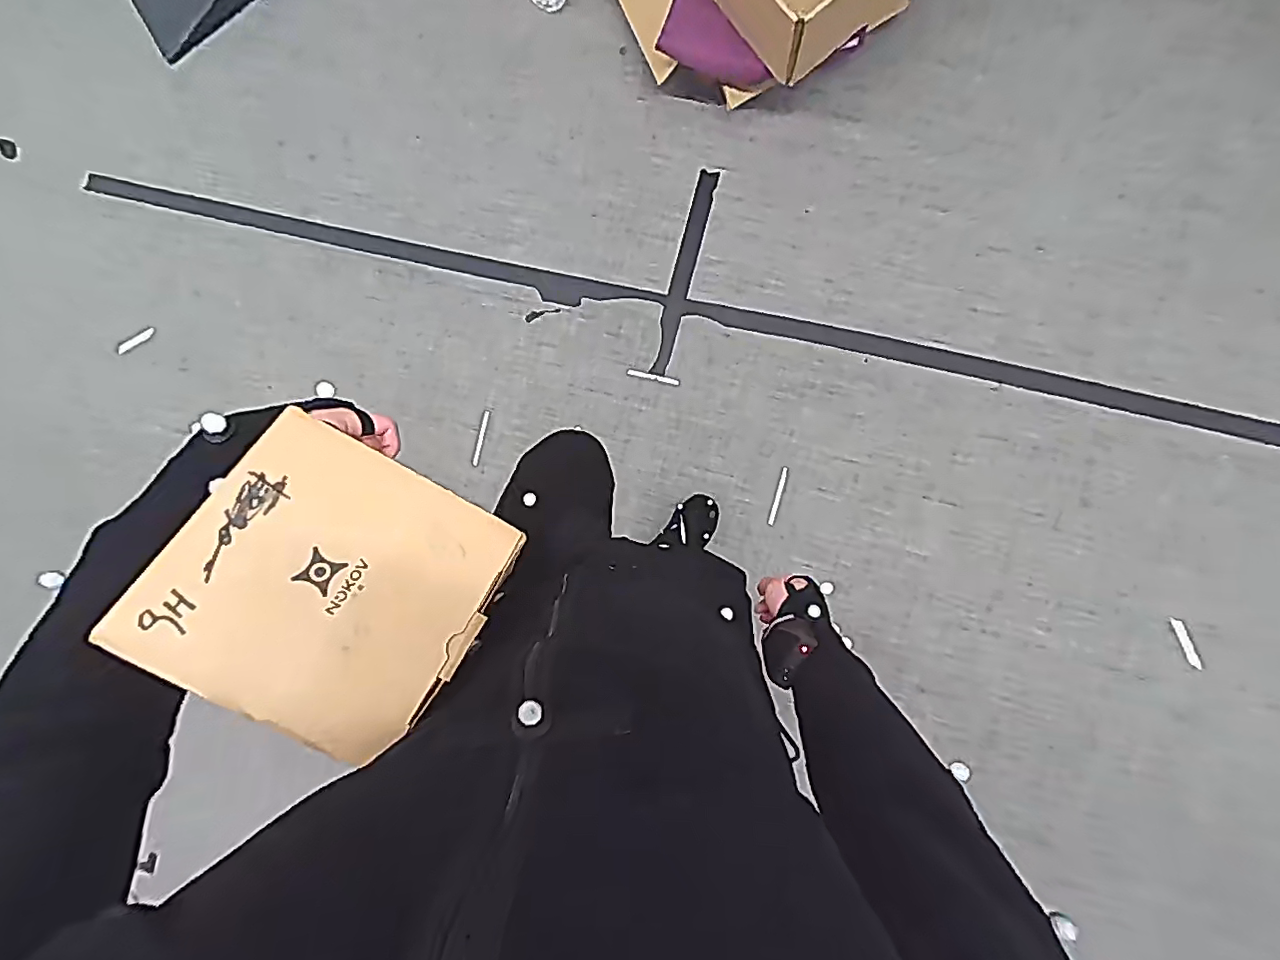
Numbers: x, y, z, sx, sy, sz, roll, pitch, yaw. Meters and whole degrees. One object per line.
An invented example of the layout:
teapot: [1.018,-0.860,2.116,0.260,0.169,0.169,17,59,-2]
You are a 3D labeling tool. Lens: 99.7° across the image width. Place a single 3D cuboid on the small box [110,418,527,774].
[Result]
small box: [-0.209,0.087,0.411,0.179,0.176,0.168,30,67,-7]
